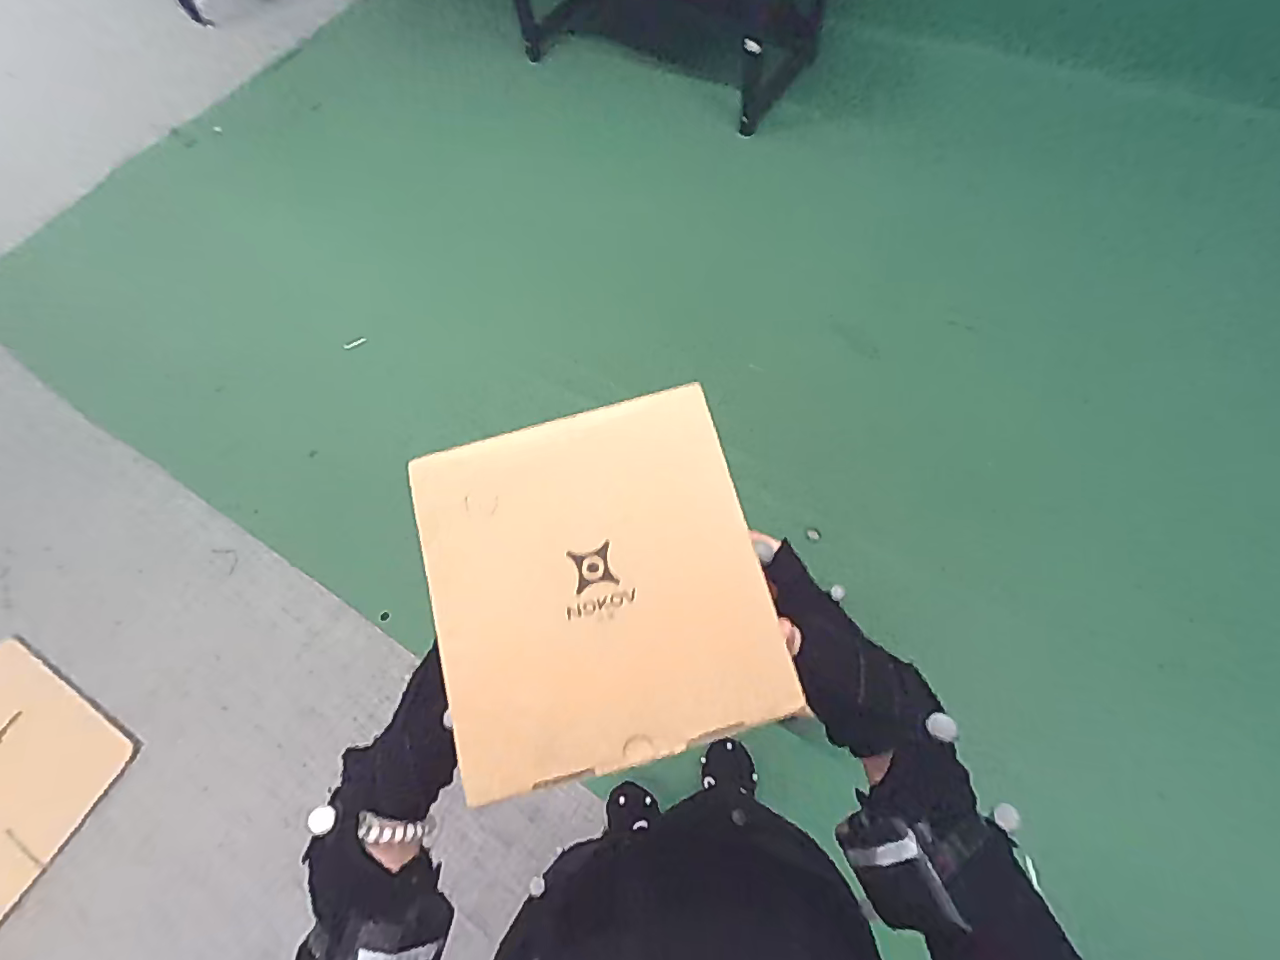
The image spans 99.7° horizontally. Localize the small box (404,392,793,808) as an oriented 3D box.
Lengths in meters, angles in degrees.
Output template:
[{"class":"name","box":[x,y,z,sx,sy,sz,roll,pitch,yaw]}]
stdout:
[{"class":"small box","box":[-0.026,0.071,0.353,0.168,0.176,0.179,-16,77,-3]}]
